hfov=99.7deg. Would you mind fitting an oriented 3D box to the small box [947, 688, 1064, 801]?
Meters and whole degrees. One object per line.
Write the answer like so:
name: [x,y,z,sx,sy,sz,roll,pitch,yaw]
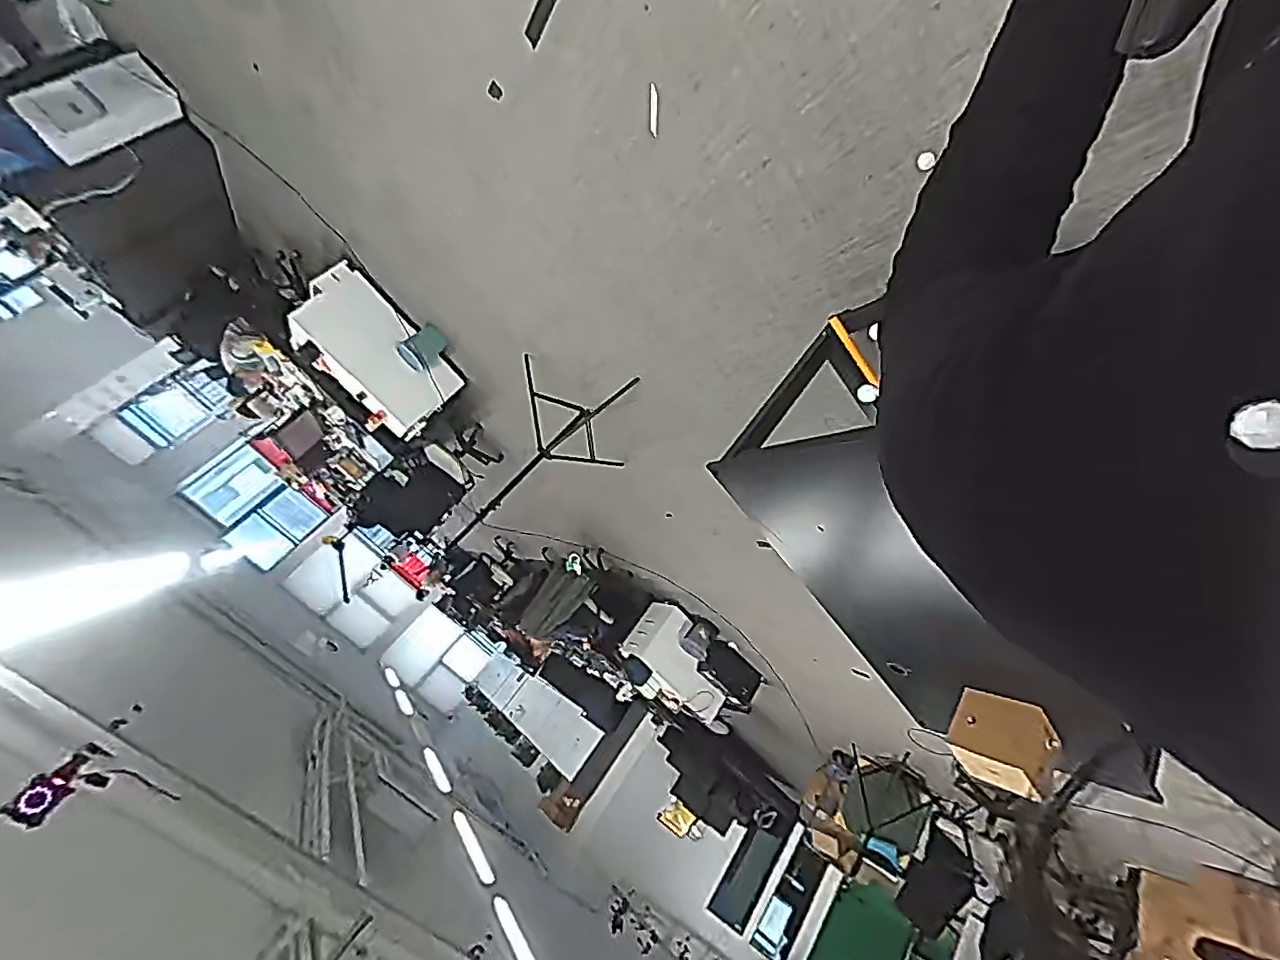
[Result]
small box: [0.921,0.654,1.361,0.168,0.176,0.179,48,154,-20]
